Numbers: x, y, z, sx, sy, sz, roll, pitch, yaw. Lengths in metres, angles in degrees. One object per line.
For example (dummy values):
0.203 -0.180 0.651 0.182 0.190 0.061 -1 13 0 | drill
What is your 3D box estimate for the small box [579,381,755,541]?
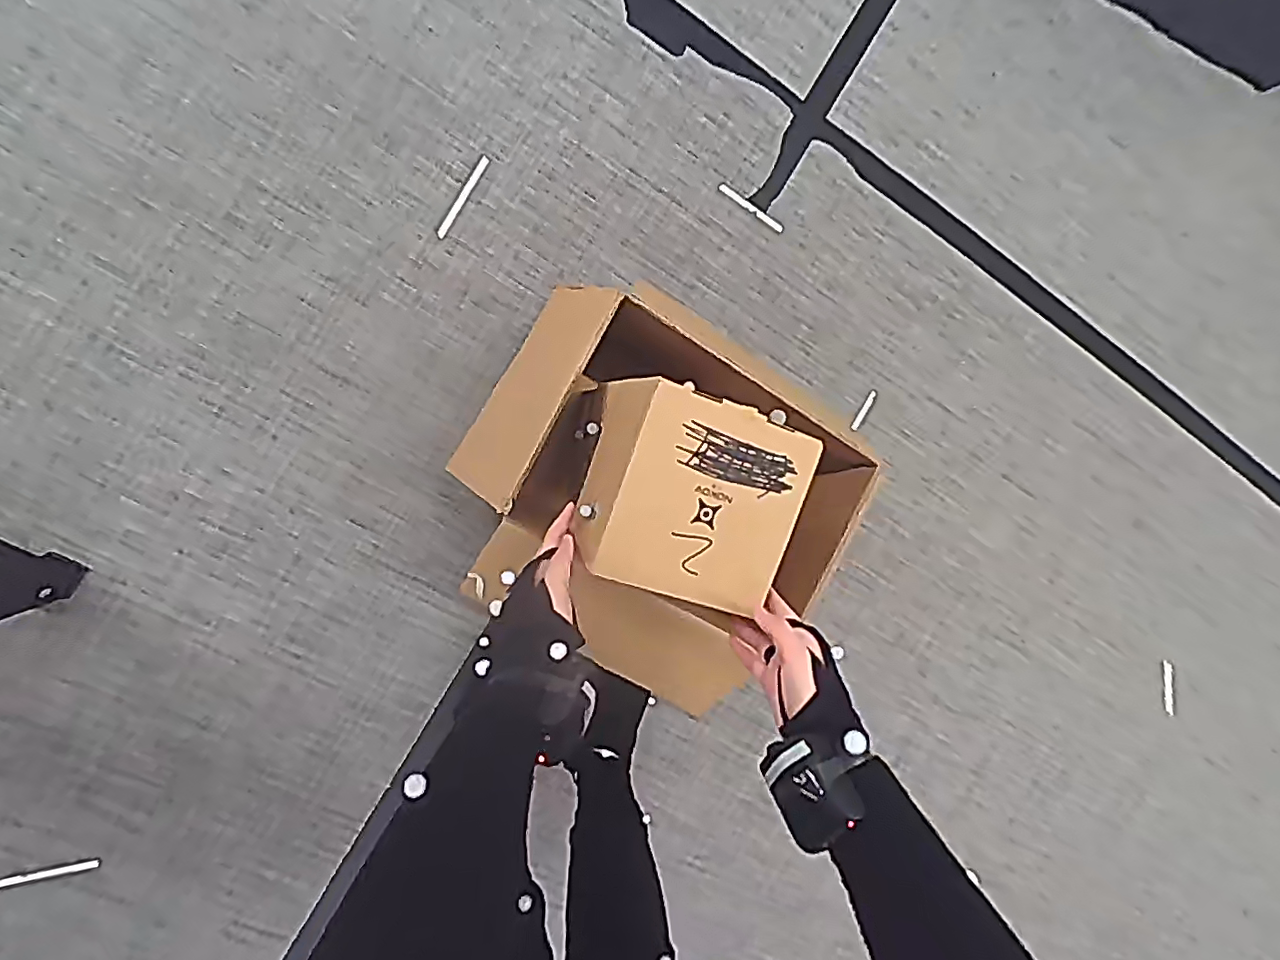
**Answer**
0.022 -0.028 0.704 0.179 0.176 0.168 9 96 -15 | small box
